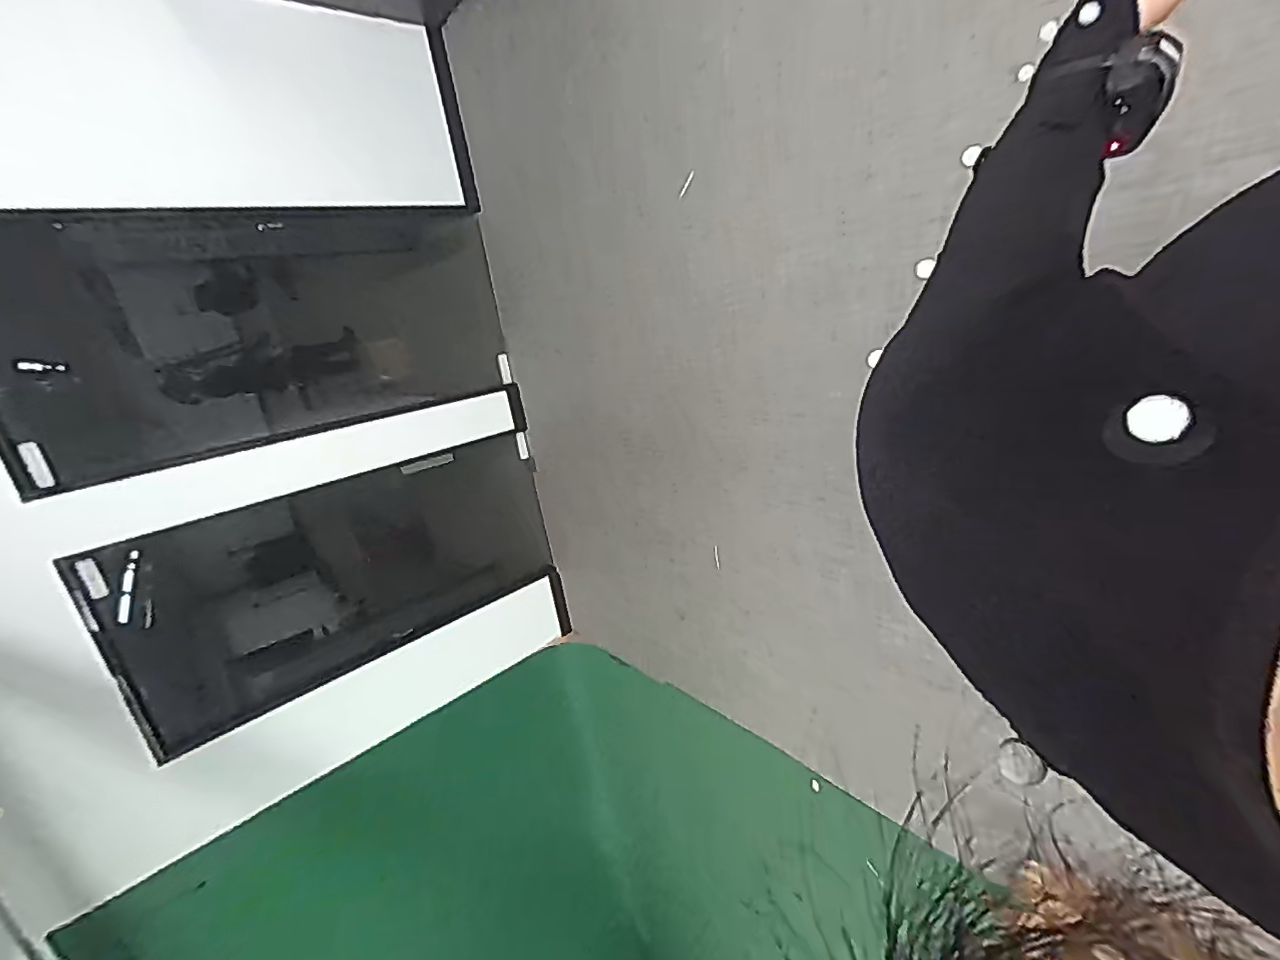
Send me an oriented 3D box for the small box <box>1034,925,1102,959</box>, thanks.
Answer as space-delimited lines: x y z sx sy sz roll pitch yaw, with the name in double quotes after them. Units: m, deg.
1.189 1.410 1.499 0.168 0.176 0.179 19 120 45 "small box"
